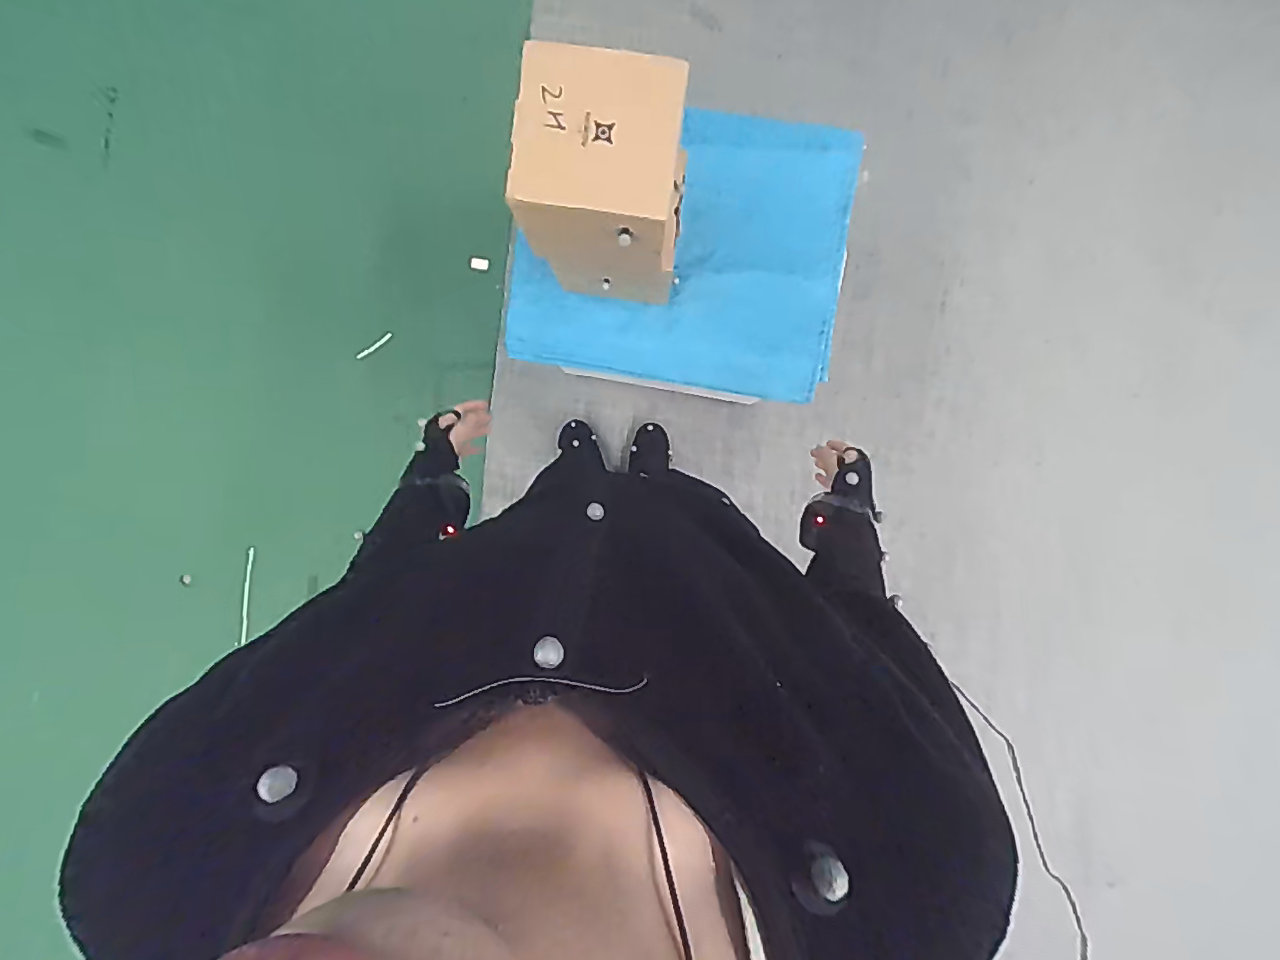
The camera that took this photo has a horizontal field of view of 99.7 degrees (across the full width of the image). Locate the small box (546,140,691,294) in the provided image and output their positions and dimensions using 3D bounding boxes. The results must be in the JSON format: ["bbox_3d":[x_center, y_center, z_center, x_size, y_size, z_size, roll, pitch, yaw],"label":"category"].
[{"bbox_3d":[-0.029,-0.384,0.795,0.179,0.176,0.168,8,94,1],"label":"small box"}]

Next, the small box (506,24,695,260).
[{"bbox_3d":[-0.041,-0.373,0.631,0.179,0.176,0.168,8,93,0],"label":"small box"}]
